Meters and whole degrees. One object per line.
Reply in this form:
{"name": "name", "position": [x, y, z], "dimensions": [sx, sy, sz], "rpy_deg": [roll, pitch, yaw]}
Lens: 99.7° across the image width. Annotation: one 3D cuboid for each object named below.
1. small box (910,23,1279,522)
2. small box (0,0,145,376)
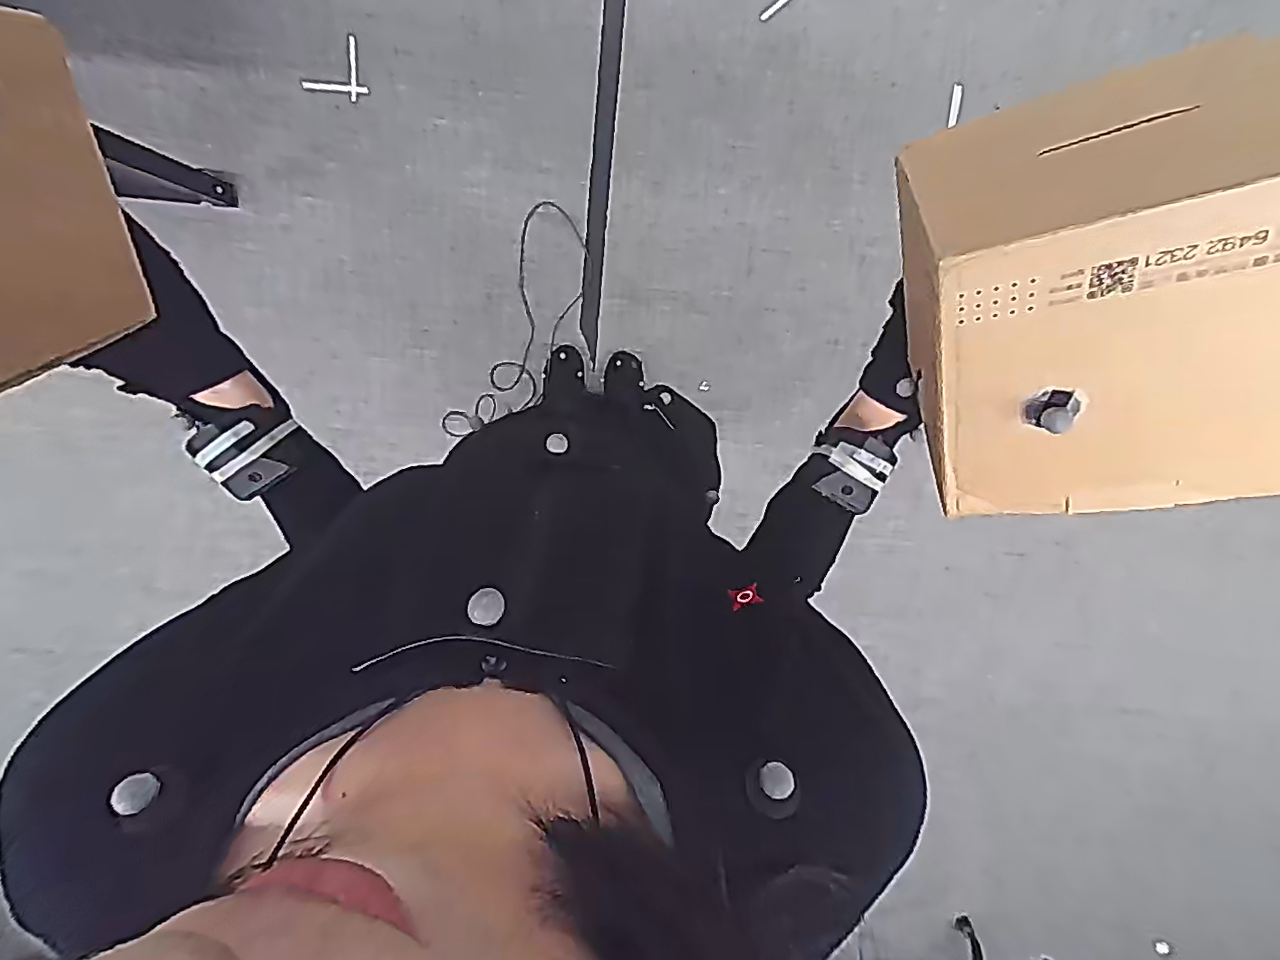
{"name": "small box", "position": [0.245, -0.101, 0.286], "dimensions": [0.168, 0.179, 0.176], "rpy_deg": [-6, 133, 23]}
{"name": "small box", "position": [-0.398, -0.142, 0.243], "dimensions": [0.168, 0.179, 0.176], "rpy_deg": [4, 122, -7]}
